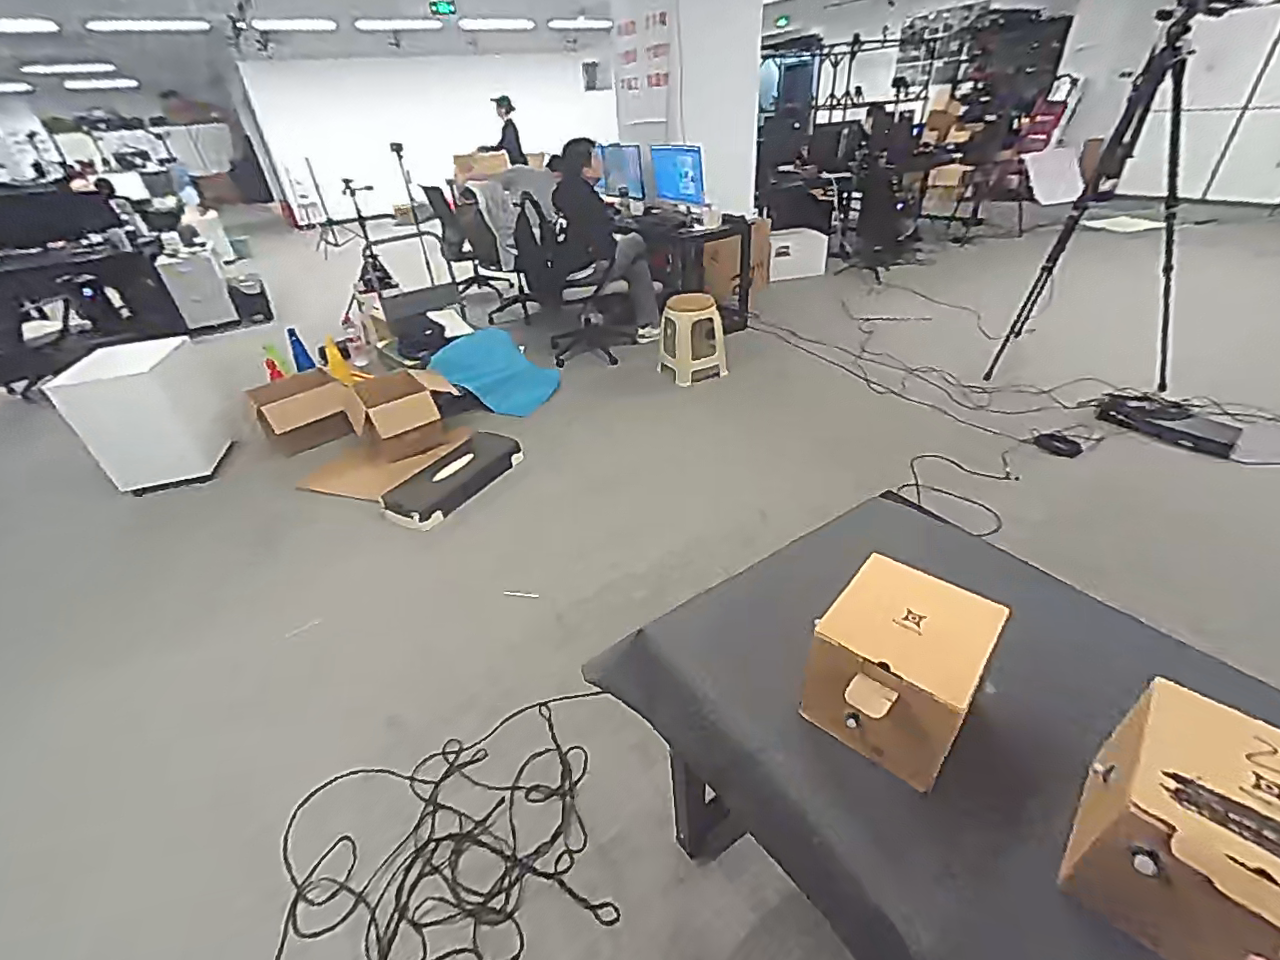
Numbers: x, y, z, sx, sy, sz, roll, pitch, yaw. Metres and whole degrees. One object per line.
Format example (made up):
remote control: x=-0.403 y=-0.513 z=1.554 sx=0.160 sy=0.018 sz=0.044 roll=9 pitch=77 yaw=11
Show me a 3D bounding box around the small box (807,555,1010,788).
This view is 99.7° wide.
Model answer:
small box: x=0.325 y=0.232 z=0.678 sx=0.168 sy=0.176 sz=0.179 roll=25 pitch=44 yaw=35
